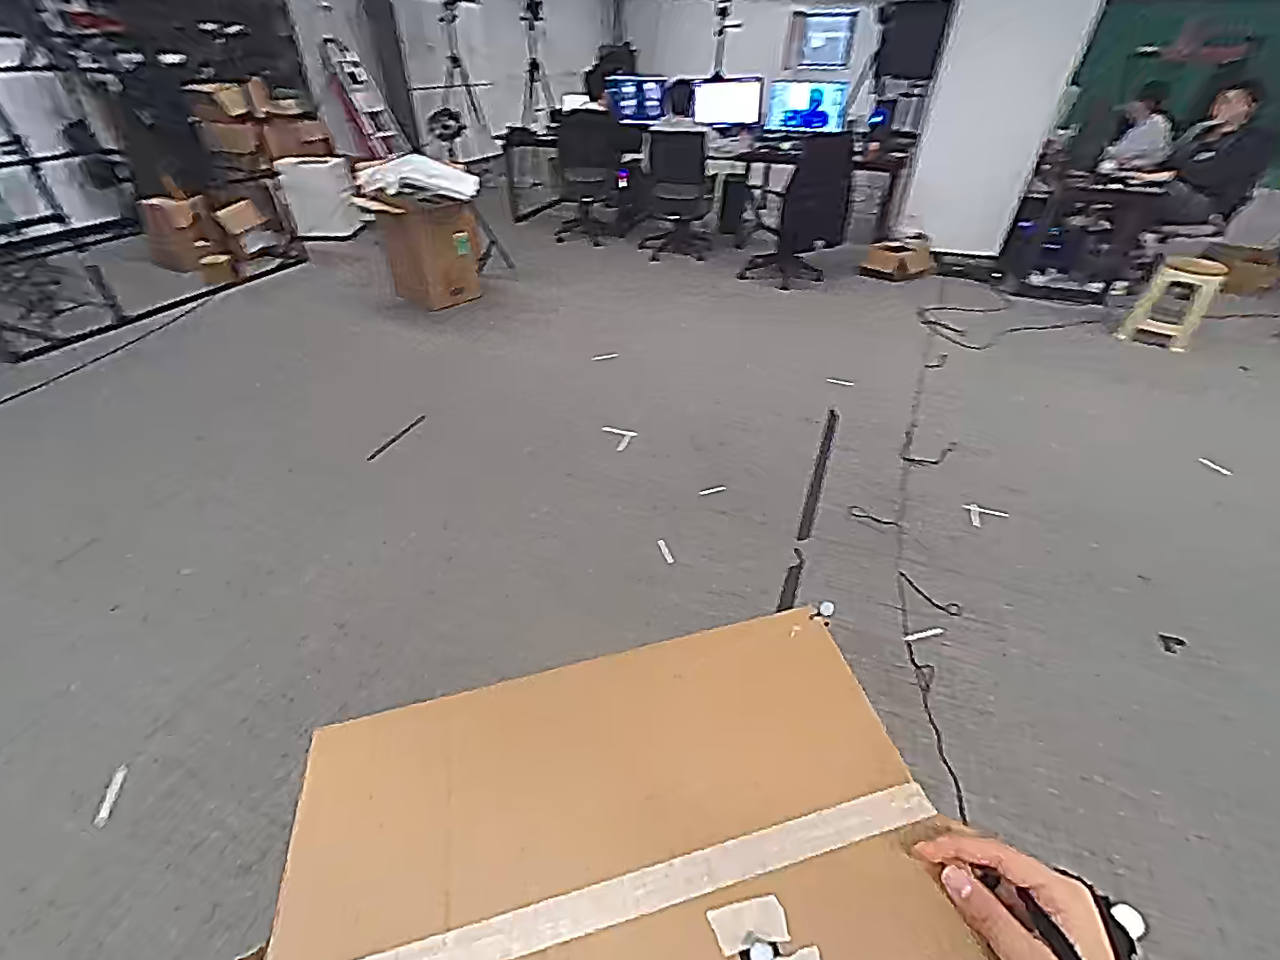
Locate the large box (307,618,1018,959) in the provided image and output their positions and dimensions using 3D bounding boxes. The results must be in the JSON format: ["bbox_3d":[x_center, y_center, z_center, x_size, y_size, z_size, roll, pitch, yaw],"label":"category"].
[{"bbox_3d":[0.006,0.366,0.429,0.408,0.320,0.320,-11,45,-9],"label":"large box"}]
